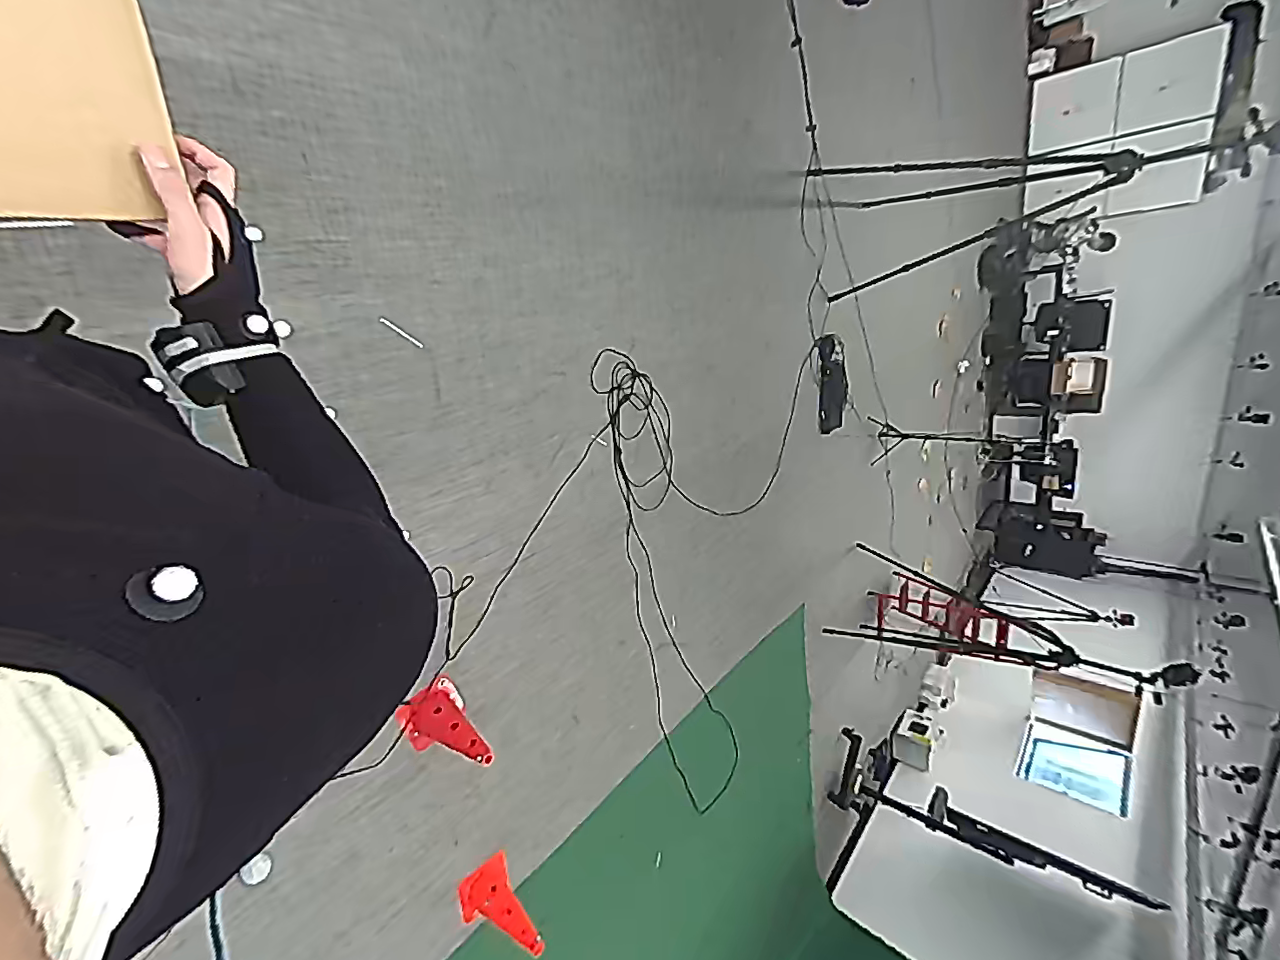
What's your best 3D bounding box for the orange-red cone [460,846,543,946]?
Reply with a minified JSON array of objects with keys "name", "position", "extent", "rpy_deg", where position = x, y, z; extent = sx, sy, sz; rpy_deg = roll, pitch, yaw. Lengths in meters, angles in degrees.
[{"name":"orange-red cone","position":[-0.479,1.576,1.994],"extent":[0.199,0.360,0.198],"rpy_deg":[-17,110,-46]}]
